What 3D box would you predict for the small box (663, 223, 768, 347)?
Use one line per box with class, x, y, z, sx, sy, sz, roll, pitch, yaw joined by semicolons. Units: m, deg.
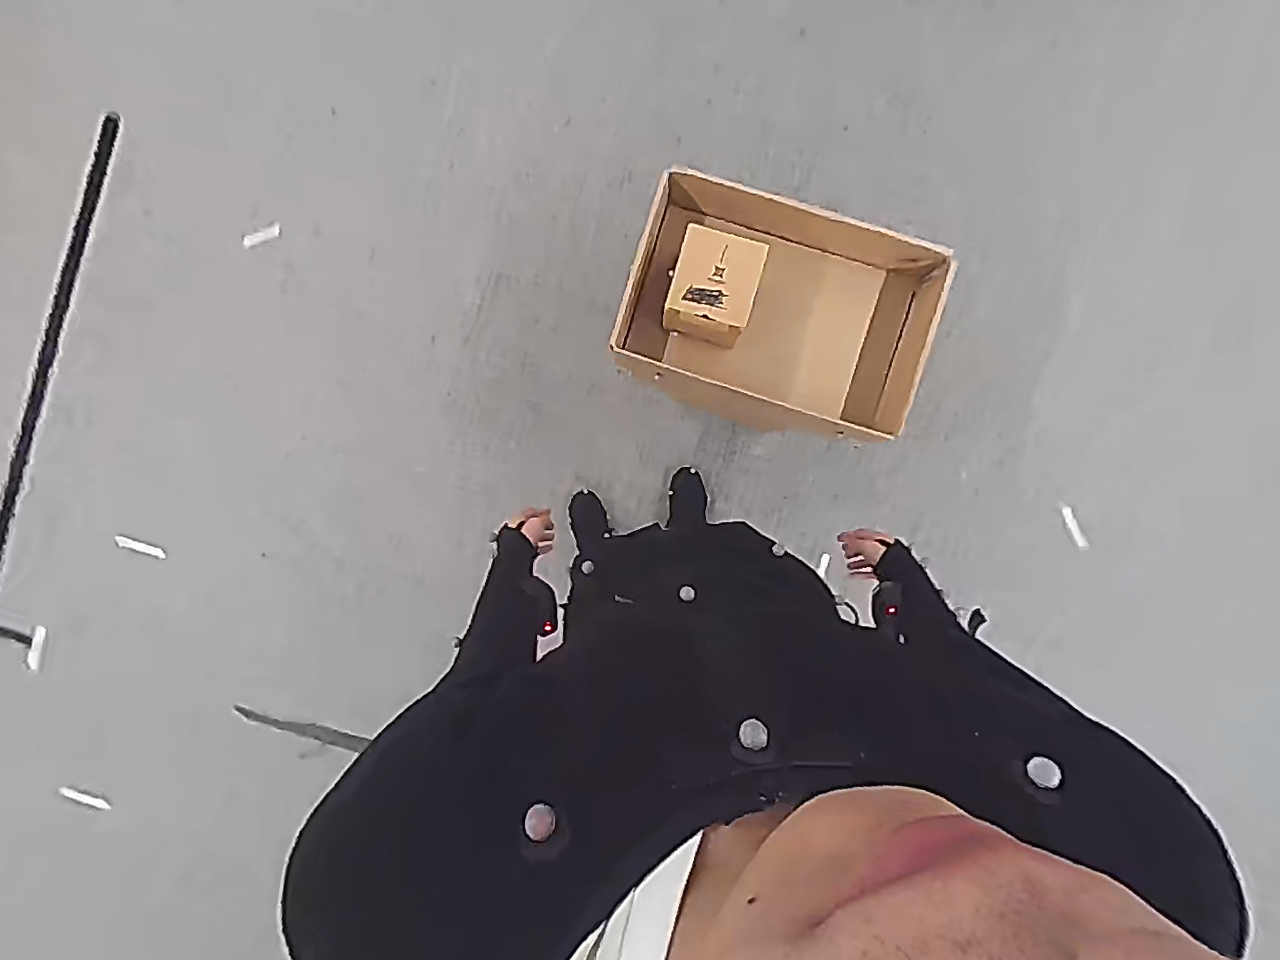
small box;0.150;-0.396;1.132;0.168;0.176;0.179;17;90;0
